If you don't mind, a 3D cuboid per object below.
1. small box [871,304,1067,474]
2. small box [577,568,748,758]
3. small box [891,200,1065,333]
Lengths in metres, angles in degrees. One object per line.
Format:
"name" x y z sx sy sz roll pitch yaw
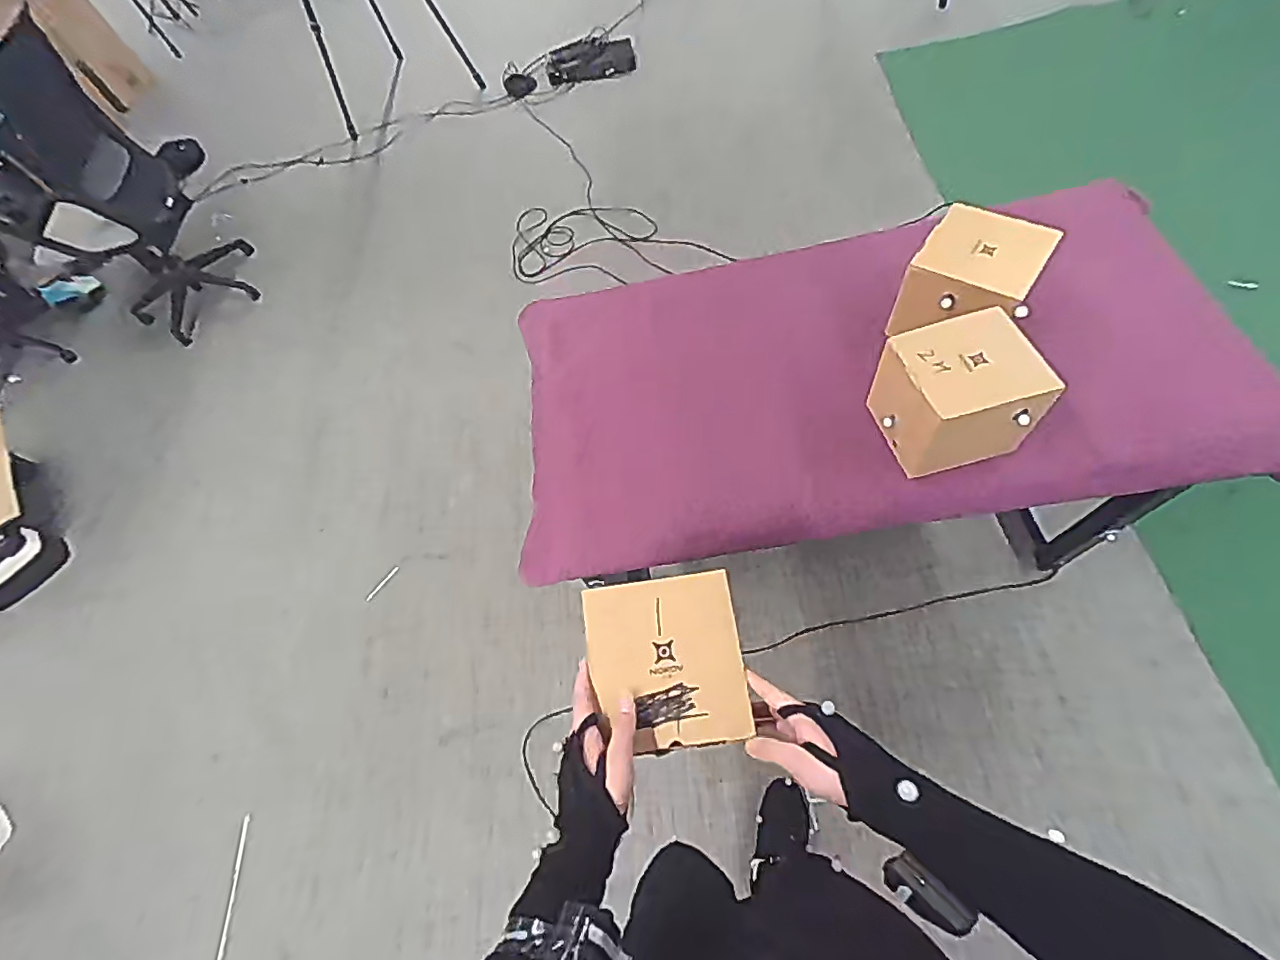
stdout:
"small box" 0.484 -0.132 0.829 0.179 0.176 0.168 -16 60 3
"small box" 0.026 0.216 0.645 0.168 0.176 0.179 -9 69 1
"small box" 0.561 -0.333 0.922 0.179 0.176 0.168 31 73 24
